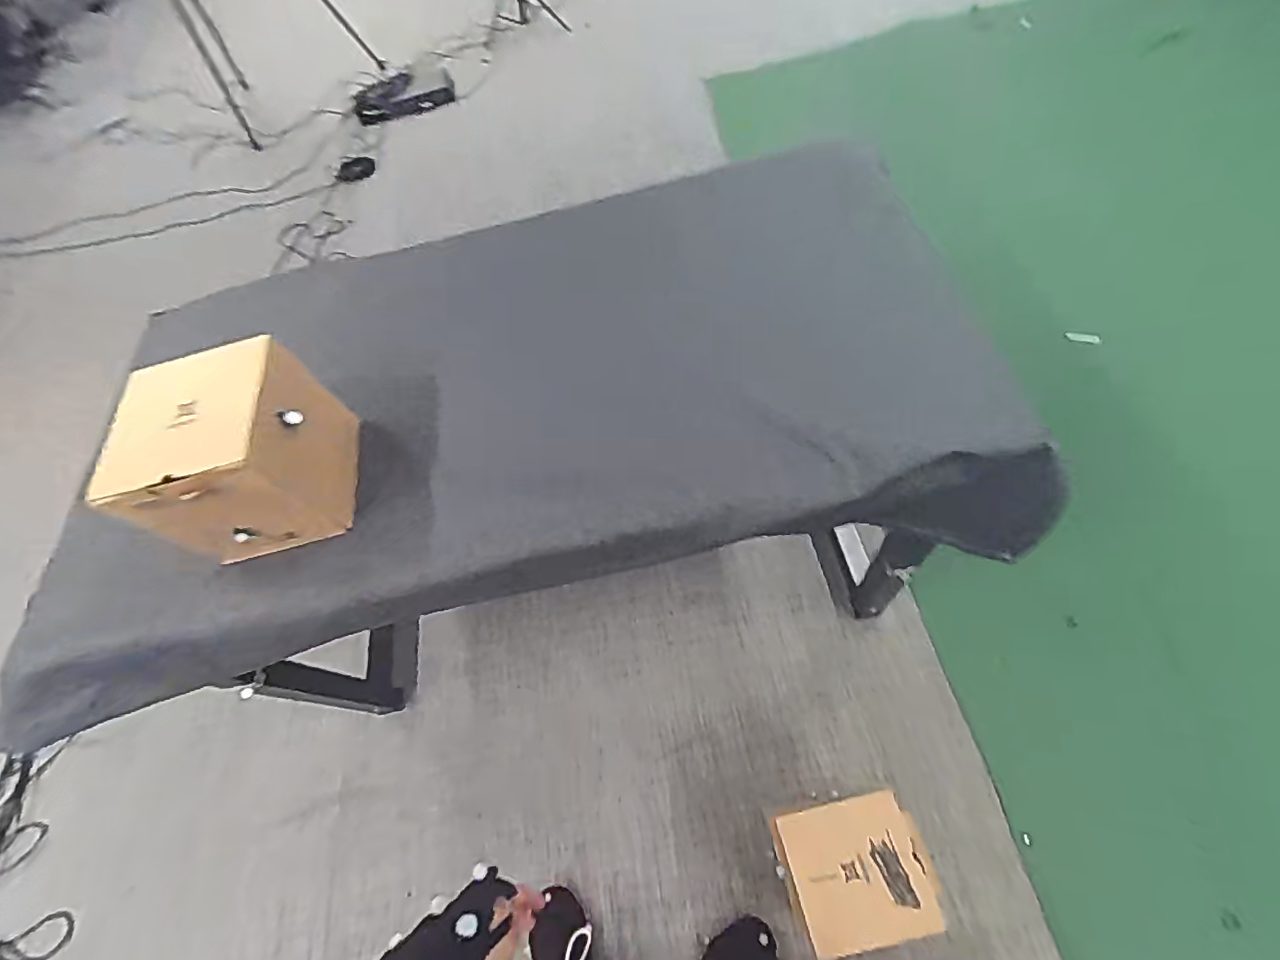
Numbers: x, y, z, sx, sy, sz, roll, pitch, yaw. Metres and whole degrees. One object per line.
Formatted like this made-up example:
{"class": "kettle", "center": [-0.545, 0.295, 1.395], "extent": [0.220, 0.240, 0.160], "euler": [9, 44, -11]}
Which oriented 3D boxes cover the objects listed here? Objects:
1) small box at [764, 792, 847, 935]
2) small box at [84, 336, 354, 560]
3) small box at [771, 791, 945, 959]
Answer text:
{"class": "small box", "center": [0.326, 0.654, 0.943], "extent": [0.179, 0.176, 0.168], "euler": [-16, 59, 2]}
{"class": "small box", "center": [-0.458, -0.030, 0.626], "extent": [0.168, 0.176, 0.179], "euler": [-15, 60, 2]}
{"class": "small box", "center": [0.306, 0.572, 0.803], "extent": [0.179, 0.176, 0.168], "euler": [-16, 59, 2]}
